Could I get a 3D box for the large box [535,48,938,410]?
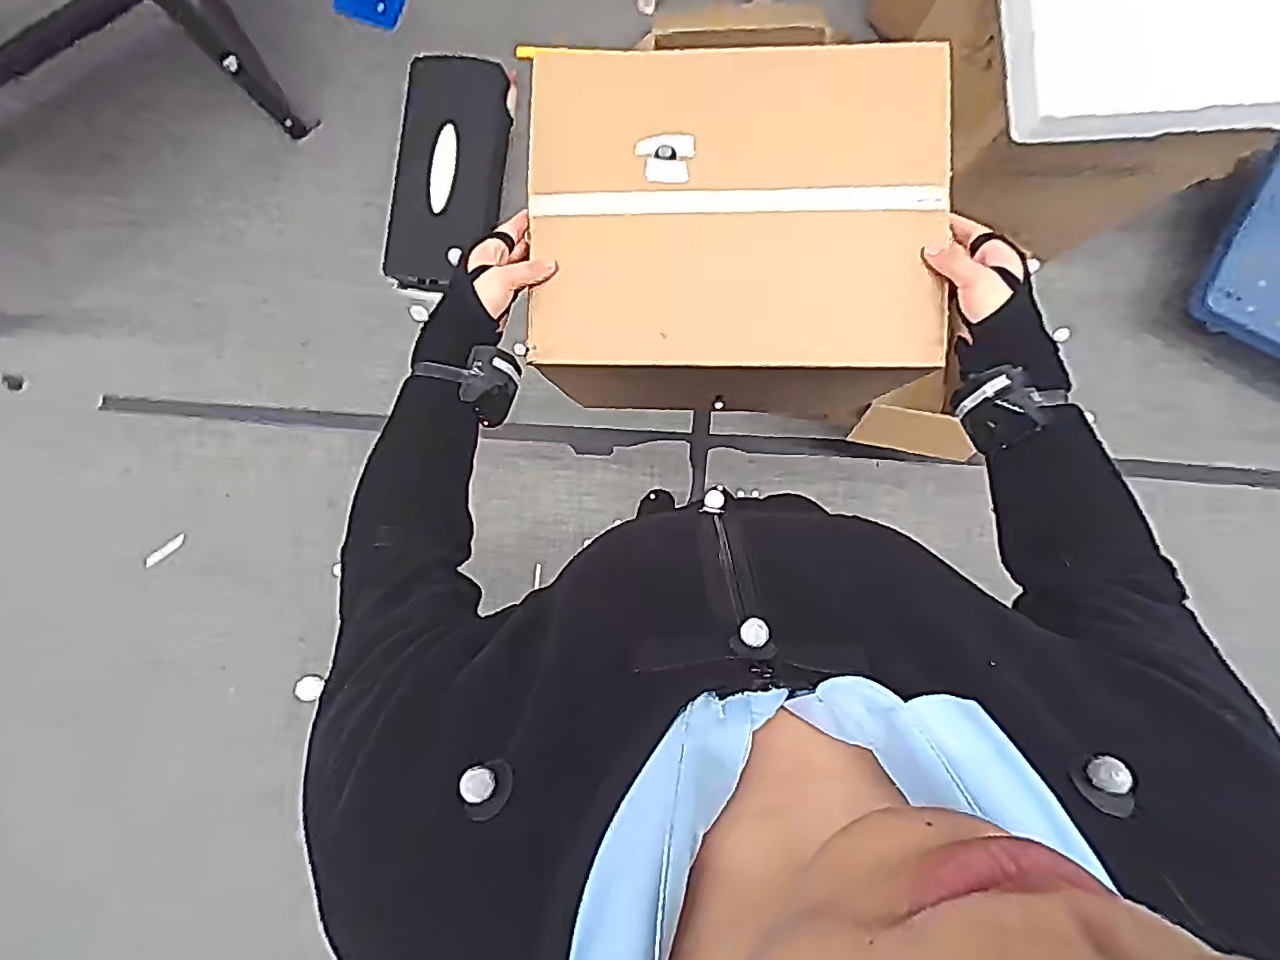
[{"bbox_3d":[0.103,-0.265,0.689,0.408,0.320,0.320,0,88,5],"label":"large box"}]
